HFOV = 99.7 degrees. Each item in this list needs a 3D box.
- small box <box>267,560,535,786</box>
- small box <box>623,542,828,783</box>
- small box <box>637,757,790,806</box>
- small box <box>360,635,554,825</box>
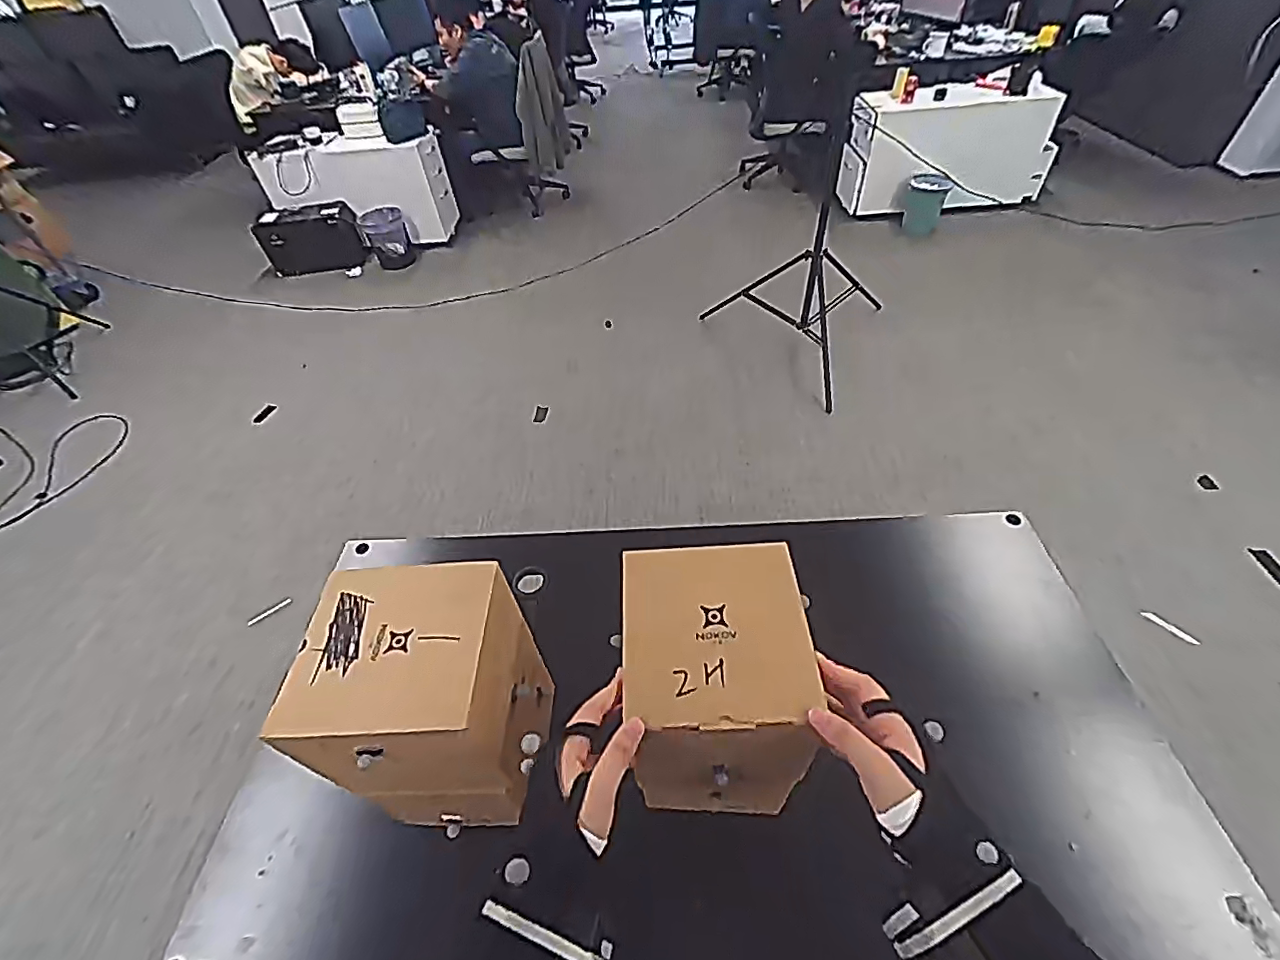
[{"bbox_3d":[-0.219,0.201,0.554,0.179,0.176,0.168,-4,47,2],"label":"small box"},{"bbox_3d":[0.072,0.183,0.543,0.168,0.176,0.179,-4,46,3],"label":"small box"},{"bbox_3d":[0.090,0.288,0.670,0.168,0.176,0.179,0,48,5],"label":"small box"},{"bbox_3d":[-0.208,0.312,0.676,0.168,0.176,0.179,-3,48,3],"label":"small box"}]
